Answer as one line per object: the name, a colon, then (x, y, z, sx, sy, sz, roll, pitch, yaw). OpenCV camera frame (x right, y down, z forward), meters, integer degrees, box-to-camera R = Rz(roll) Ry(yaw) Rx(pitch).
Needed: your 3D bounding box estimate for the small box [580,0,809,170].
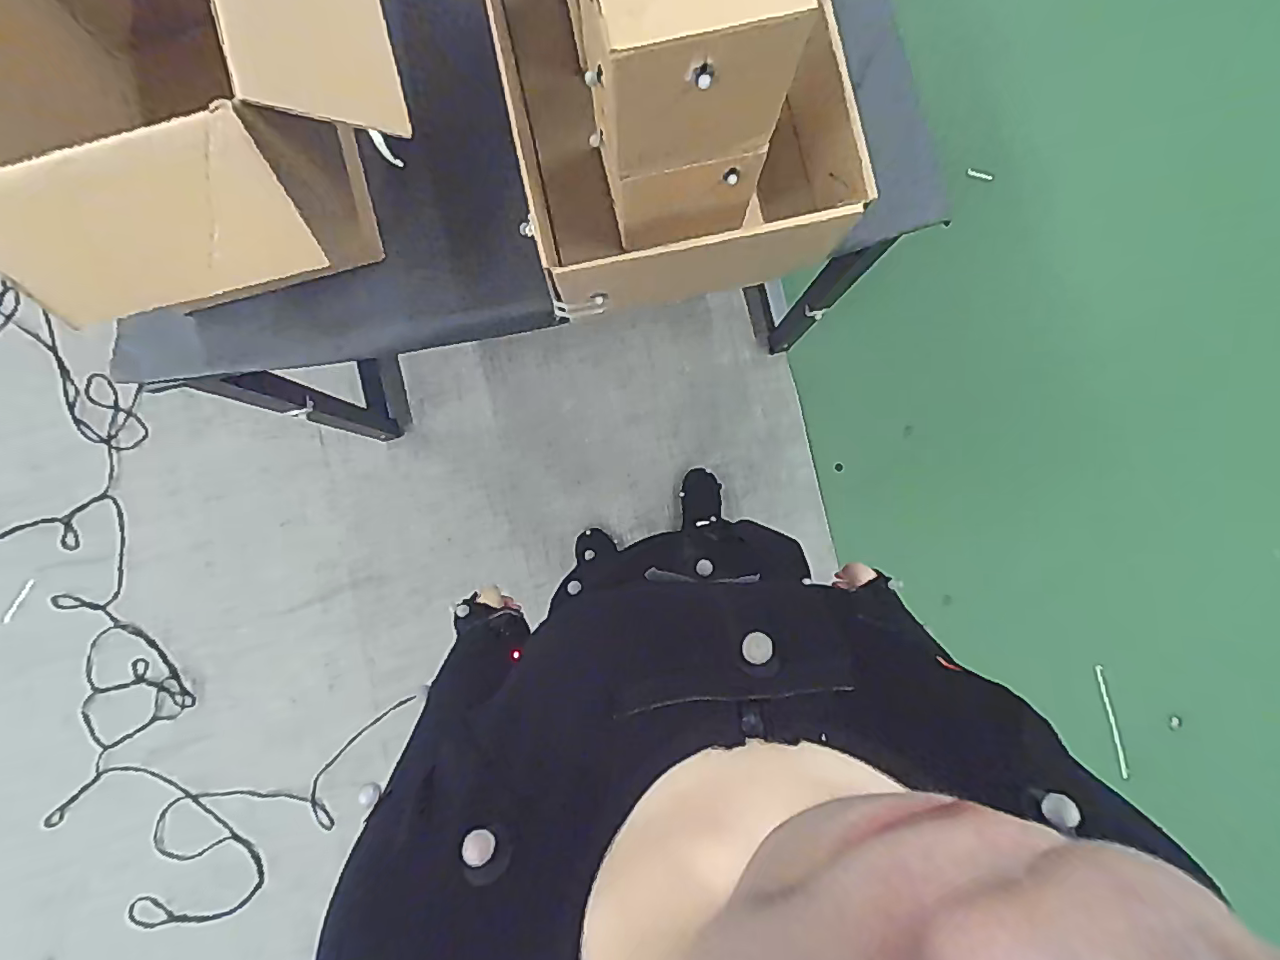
small box: (0.038, -0.436, 0.526, 0.179, 0.176, 0.168, -13, 88, -2)
